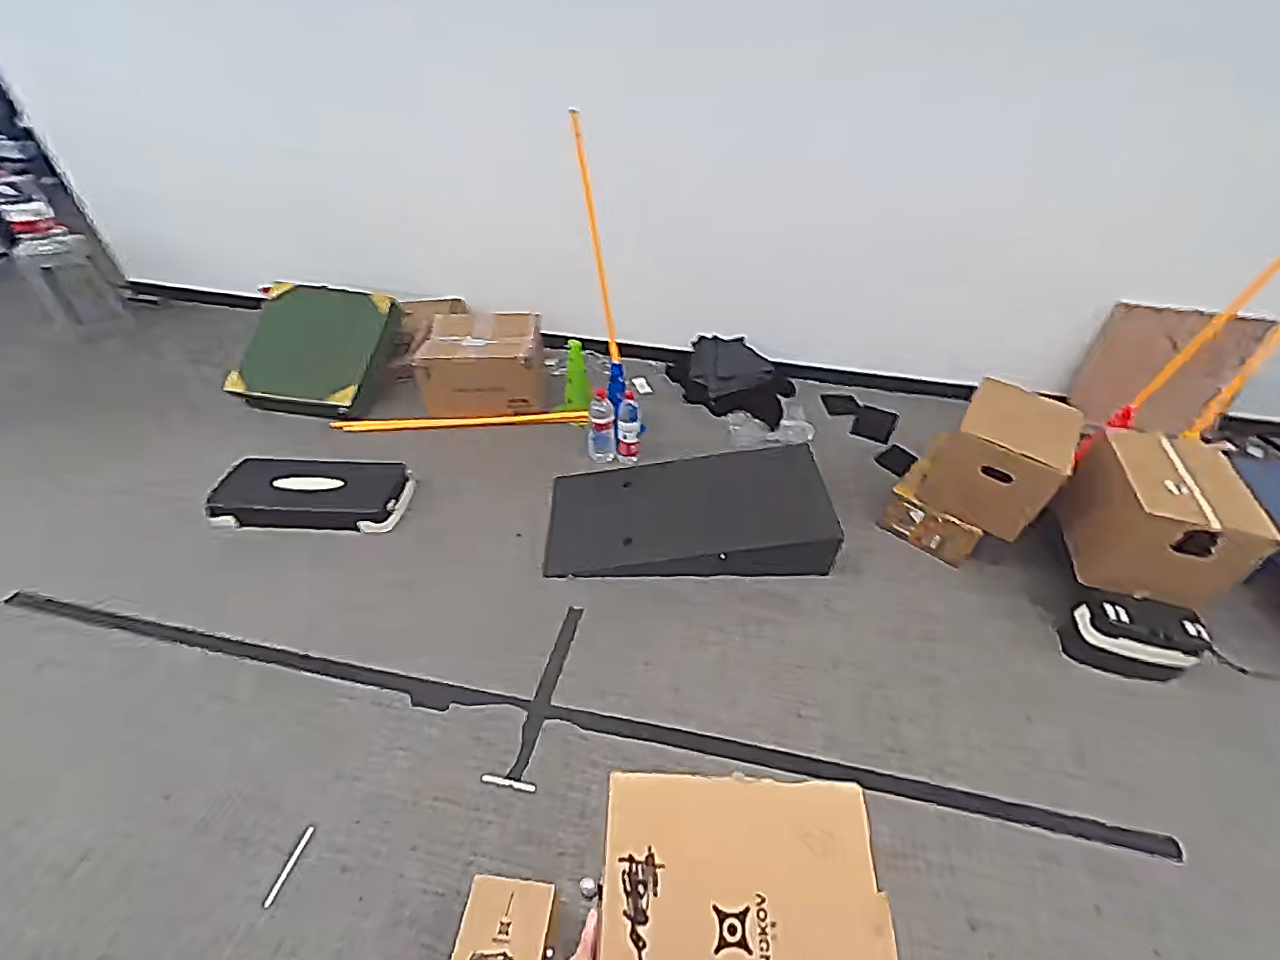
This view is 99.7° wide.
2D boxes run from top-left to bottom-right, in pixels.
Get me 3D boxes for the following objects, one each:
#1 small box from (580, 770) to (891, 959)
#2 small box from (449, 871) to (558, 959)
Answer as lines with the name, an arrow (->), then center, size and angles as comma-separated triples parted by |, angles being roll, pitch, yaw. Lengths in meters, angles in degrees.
small box -> 0.051, 0.308, 0.374 | 0.179, 0.176, 0.168 | 5, 54, -3
small box -> -0.262, 0.908, 1.067 | 0.168, 0.176, 0.179 | 6, 42, 4
